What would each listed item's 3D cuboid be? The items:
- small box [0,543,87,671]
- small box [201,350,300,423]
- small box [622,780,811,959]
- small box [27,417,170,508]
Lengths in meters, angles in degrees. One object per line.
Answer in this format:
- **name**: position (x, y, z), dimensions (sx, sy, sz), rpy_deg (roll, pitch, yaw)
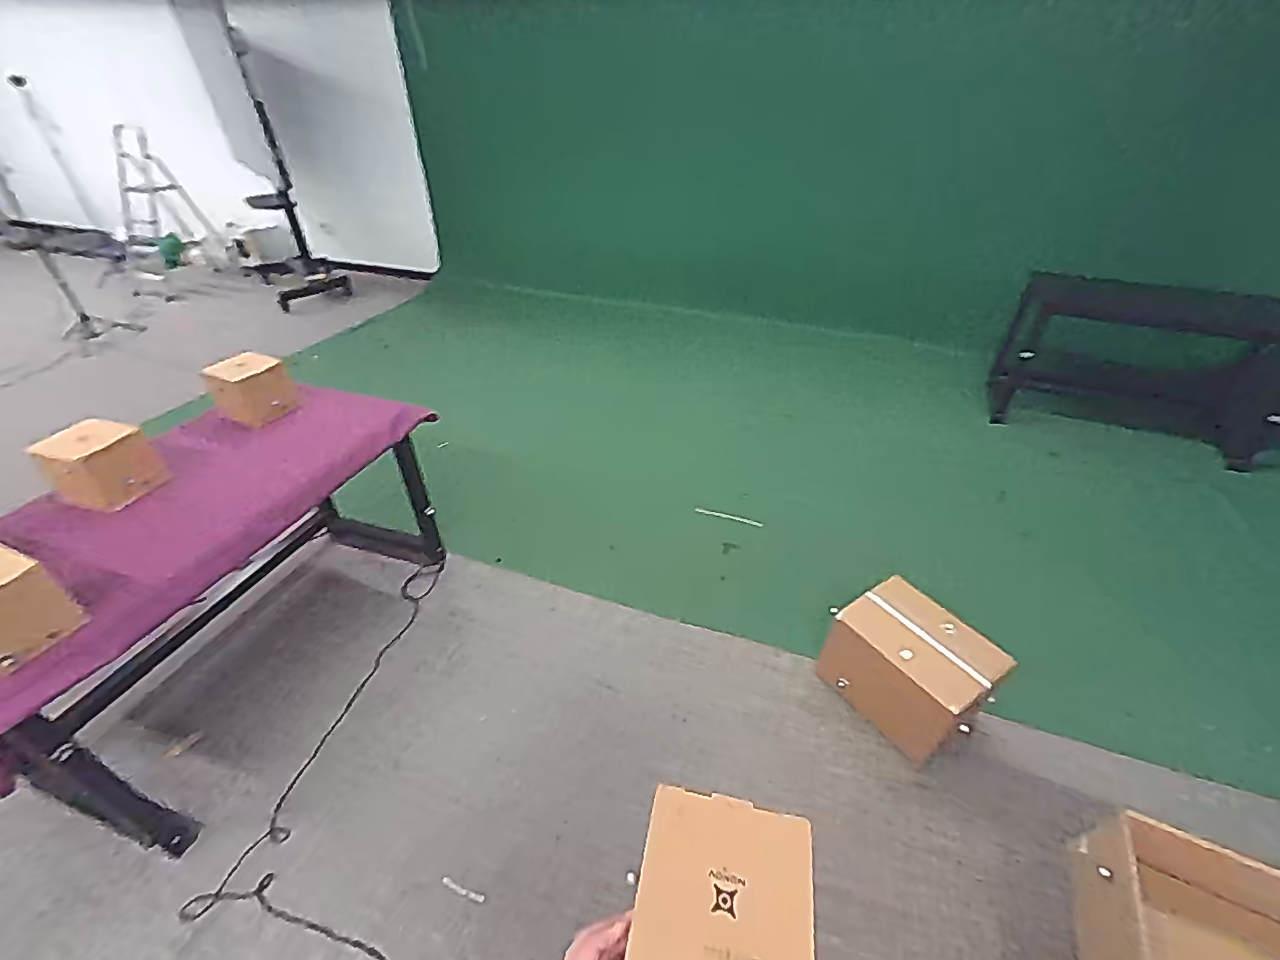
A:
- **small box**: position (-1.248, 0.249, 1.043), dimensions (0.179, 0.176, 0.168), rpy_deg (13, 39, 18)
- **small box**: position (-1.267, -0.305, 1.769), dimensions (0.179, 0.176, 0.168), rpy_deg (17, 41, 19)
- **small box**: position (0.075, 0.455, 0.561), dimensions (0.168, 0.176, 0.179), rpy_deg (9, 39, 8)
- **small box**: position (-1.423, -0.046, 1.433), dimensions (0.179, 0.176, 0.168), rpy_deg (10, 38, 11)
